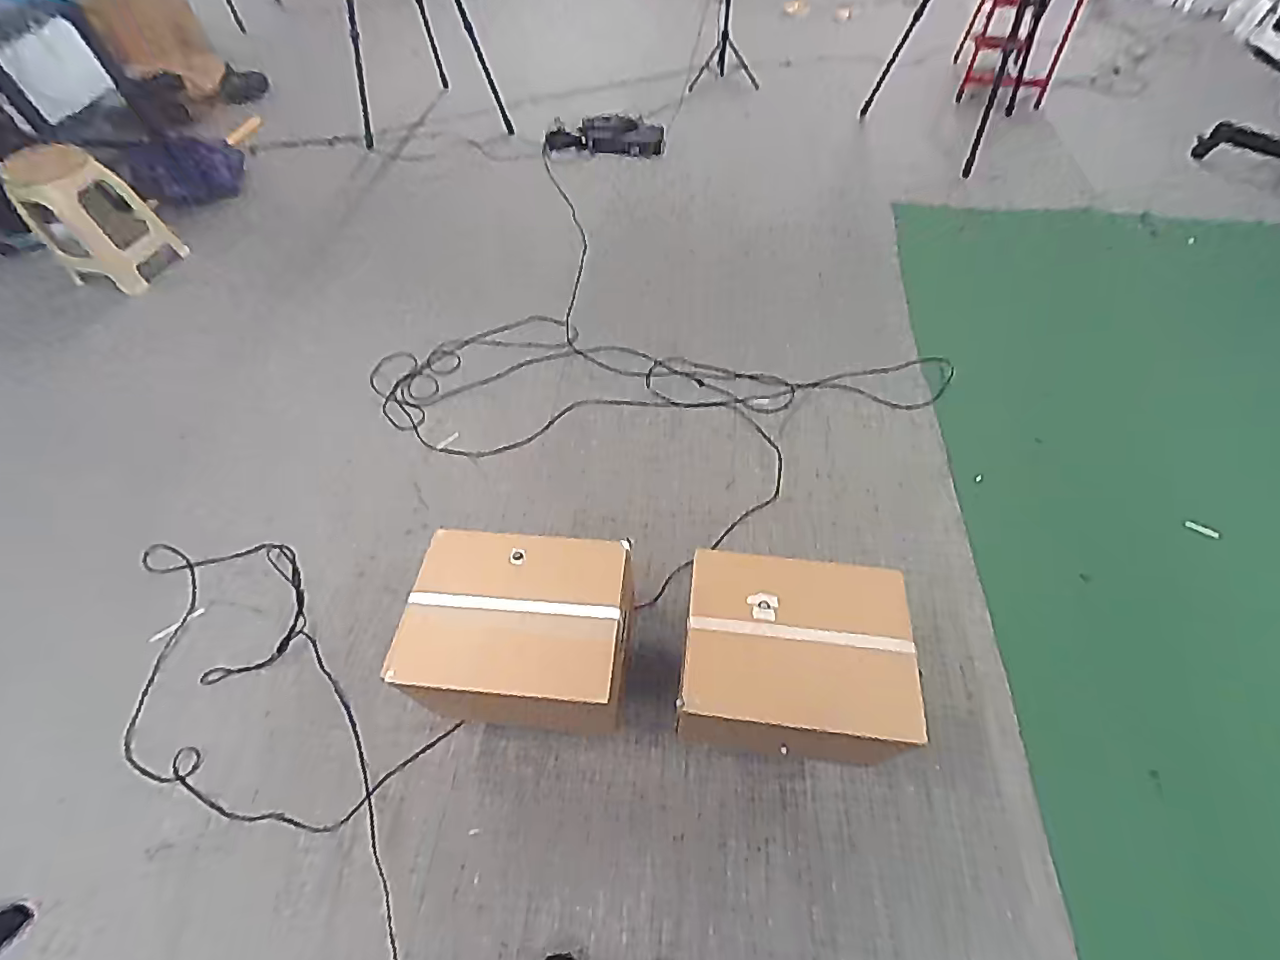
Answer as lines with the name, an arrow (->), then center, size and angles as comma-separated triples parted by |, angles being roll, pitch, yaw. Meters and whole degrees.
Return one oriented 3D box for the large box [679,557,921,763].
large box -> 0.295, 0.379, 1.117 | 0.408, 0.320, 0.320 | 6, 56, 6
